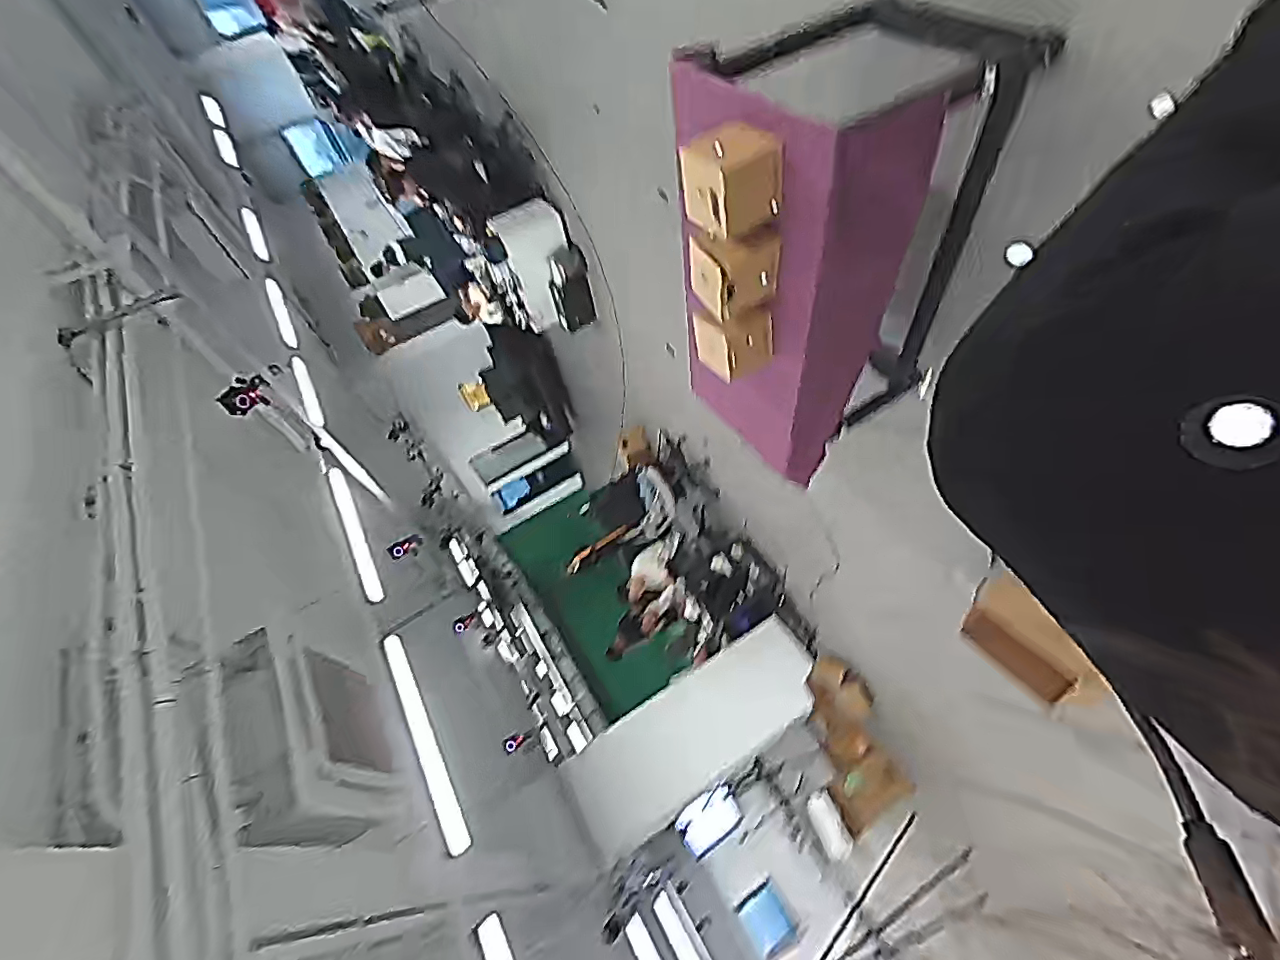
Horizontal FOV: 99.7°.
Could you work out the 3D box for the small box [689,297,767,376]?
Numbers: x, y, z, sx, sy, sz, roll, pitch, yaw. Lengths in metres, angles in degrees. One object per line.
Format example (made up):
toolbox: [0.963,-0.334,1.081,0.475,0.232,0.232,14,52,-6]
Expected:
small box: [0.276,-0.457,1.662,0.179,0.176,0.168,49,164,40]

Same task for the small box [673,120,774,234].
small box: [0.203,-0.724,1.286,0.179,0.176,0.168,51,166,37]

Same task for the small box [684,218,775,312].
small box: [0.239,-0.595,1.460,0.179,0.176,0.168,51,166,31]
